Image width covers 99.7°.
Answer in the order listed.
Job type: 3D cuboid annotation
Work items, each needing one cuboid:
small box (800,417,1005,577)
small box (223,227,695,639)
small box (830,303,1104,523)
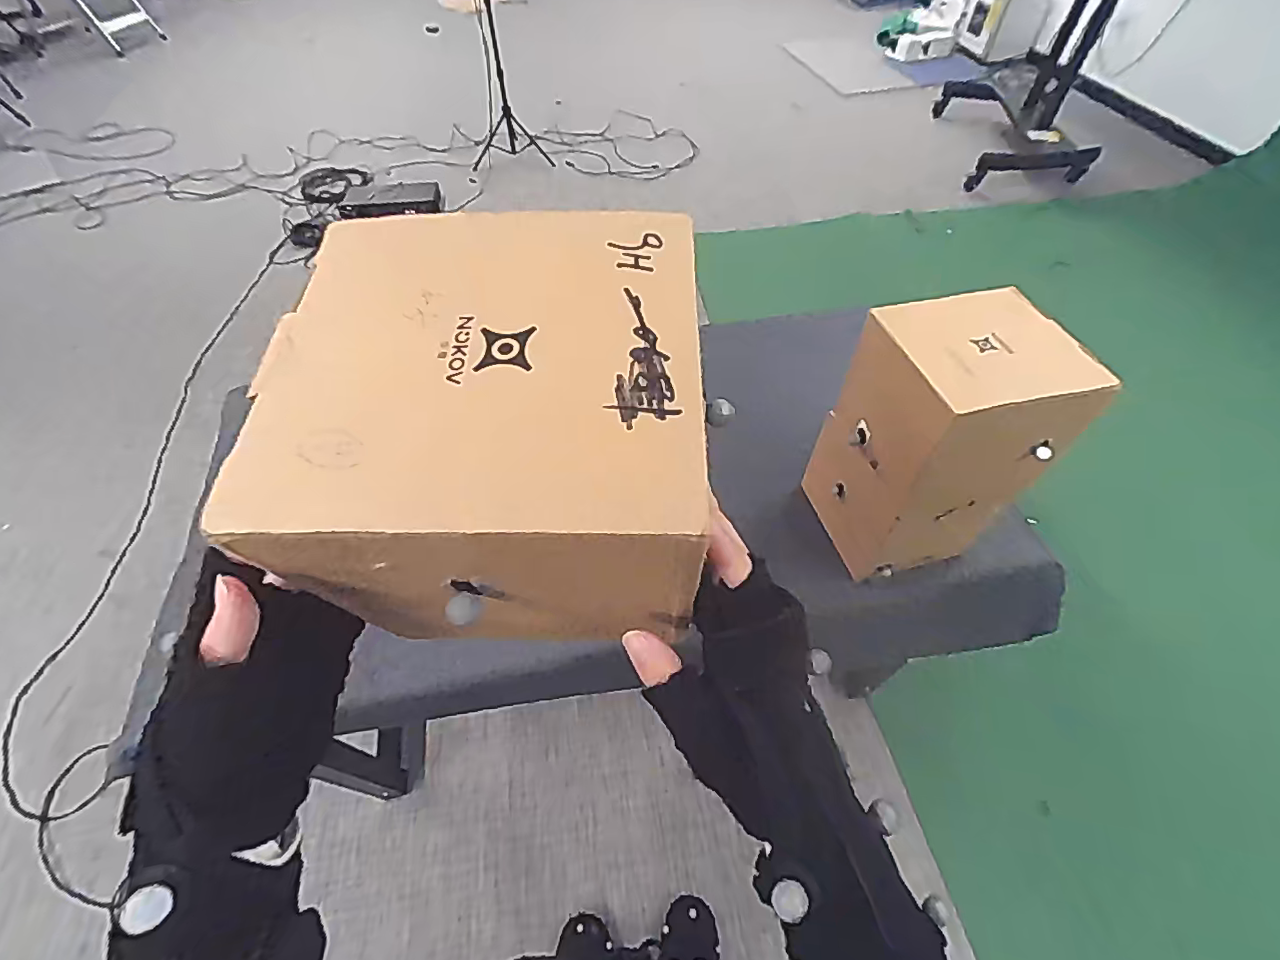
[{"bbox_3d":[0.345,0.018,0.750,0.168,0.176,0.179,-12,53,-9],"label":"small box"},{"bbox_3d":[-0.061,-0.012,0.299,0.179,0.176,0.168,0,62,2],"label":"small box"},{"bbox_3d":[0.346,-0.073,0.616,0.179,0.176,0.168,-11,52,-7],"label":"small box"}]
